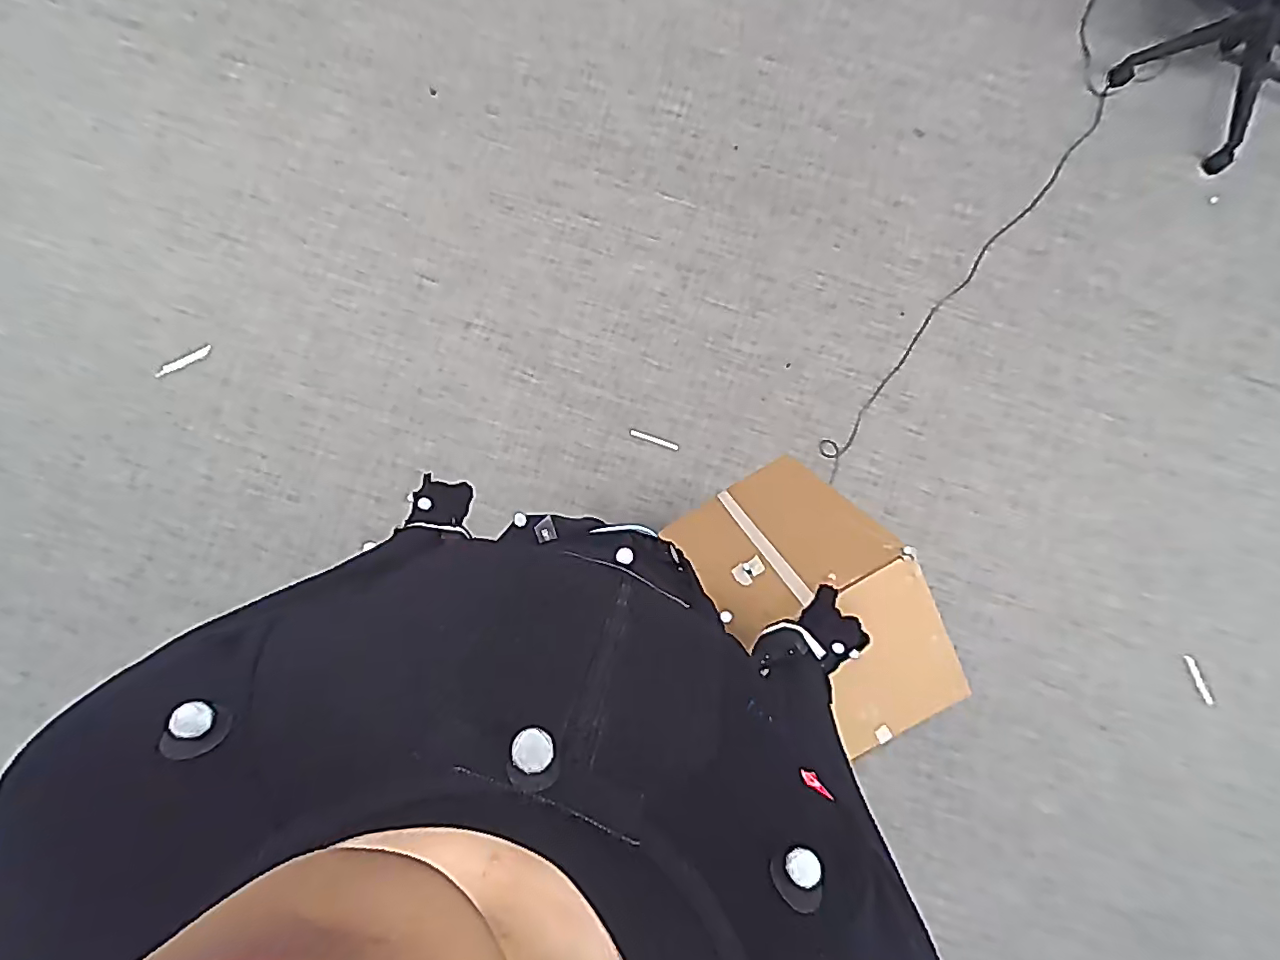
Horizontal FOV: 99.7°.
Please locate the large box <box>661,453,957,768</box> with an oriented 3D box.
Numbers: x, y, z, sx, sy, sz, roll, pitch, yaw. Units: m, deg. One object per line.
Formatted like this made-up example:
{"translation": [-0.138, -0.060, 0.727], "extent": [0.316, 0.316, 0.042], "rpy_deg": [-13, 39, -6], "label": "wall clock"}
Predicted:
{"translation": [0.279, 0.211, 0.991], "extent": [0.320, 0.408, 0.320], "rpy_deg": [-32, 115, 3], "label": "large box"}
